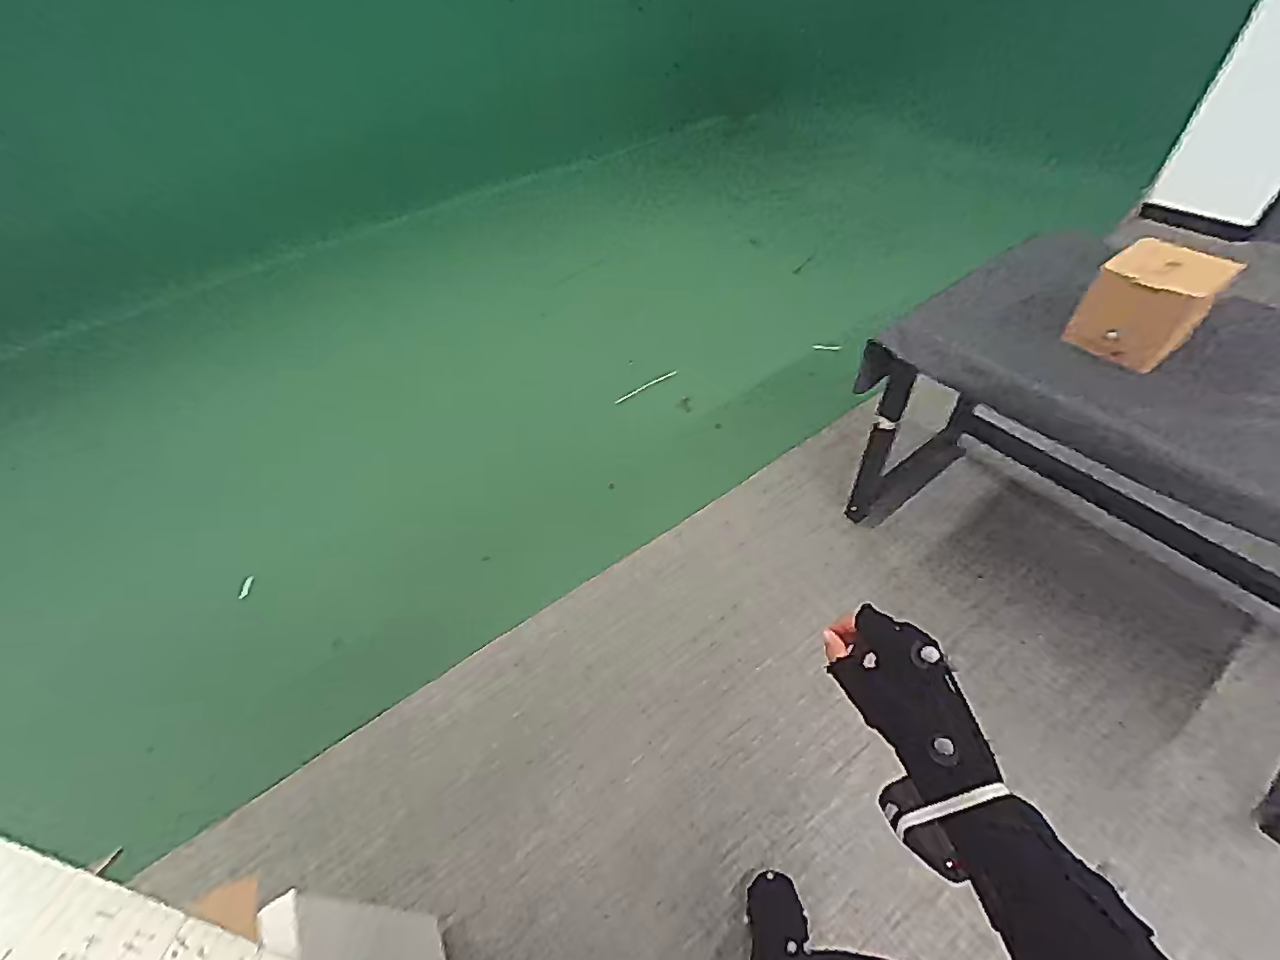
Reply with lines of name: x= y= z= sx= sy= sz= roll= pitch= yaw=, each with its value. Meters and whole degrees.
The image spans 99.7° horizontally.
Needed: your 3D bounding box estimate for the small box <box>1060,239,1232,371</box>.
small box: x=1.003 y=-0.352 z=1.089 sx=0.179 sy=0.176 sz=0.168 roll=-31 pitch=52 yaw=-20
